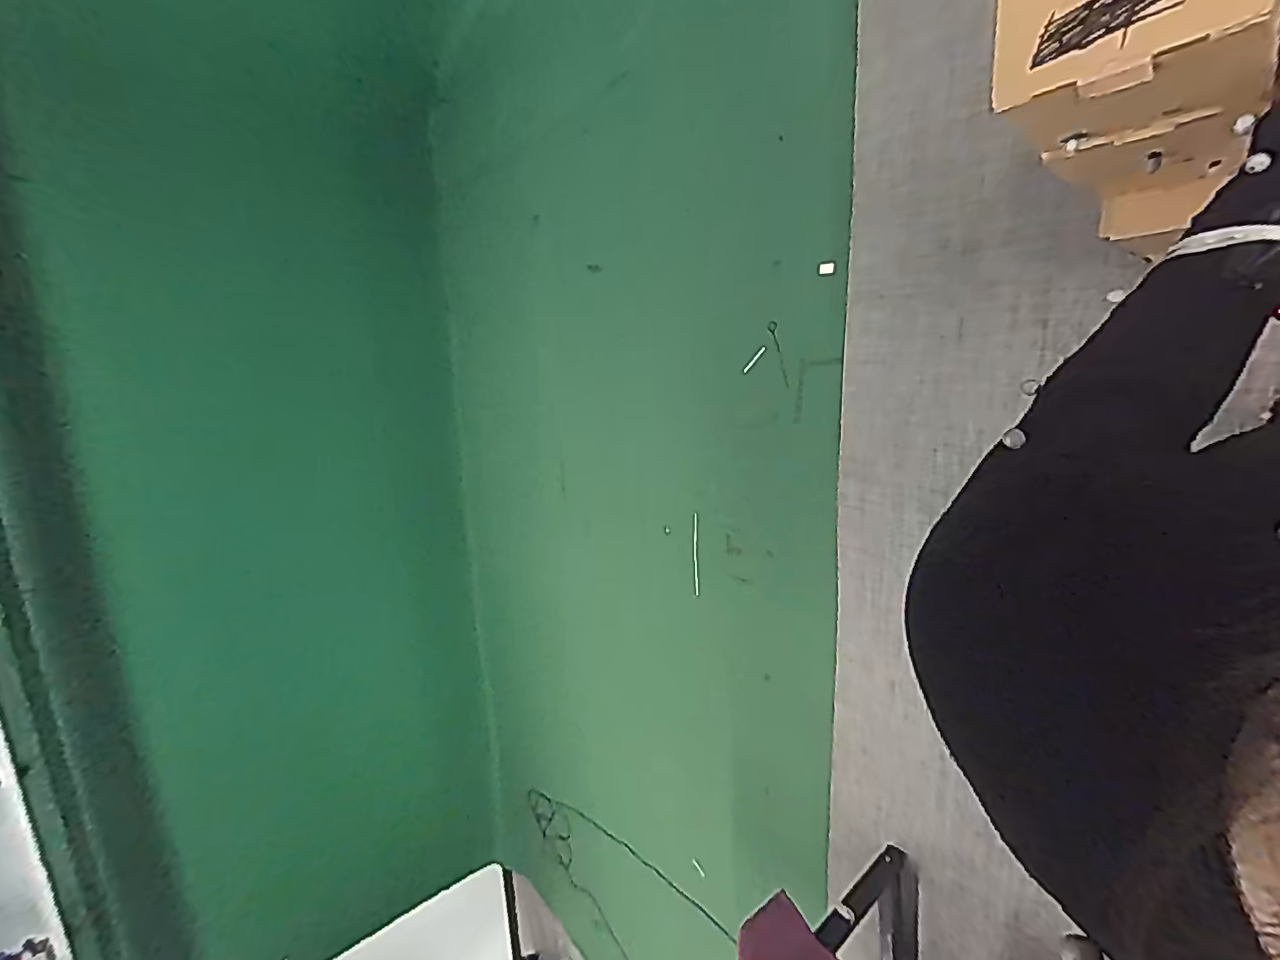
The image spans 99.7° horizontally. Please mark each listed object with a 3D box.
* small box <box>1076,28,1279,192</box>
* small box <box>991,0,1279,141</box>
[{"bbox_3d":[0.668,-0.470,0.662,0.168,0.176,0.179,12,108,47],"label":"small box"},{"bbox_3d":[0.421,-0.413,0.454,0.168,0.176,0.179,9,105,47],"label":"small box"}]
